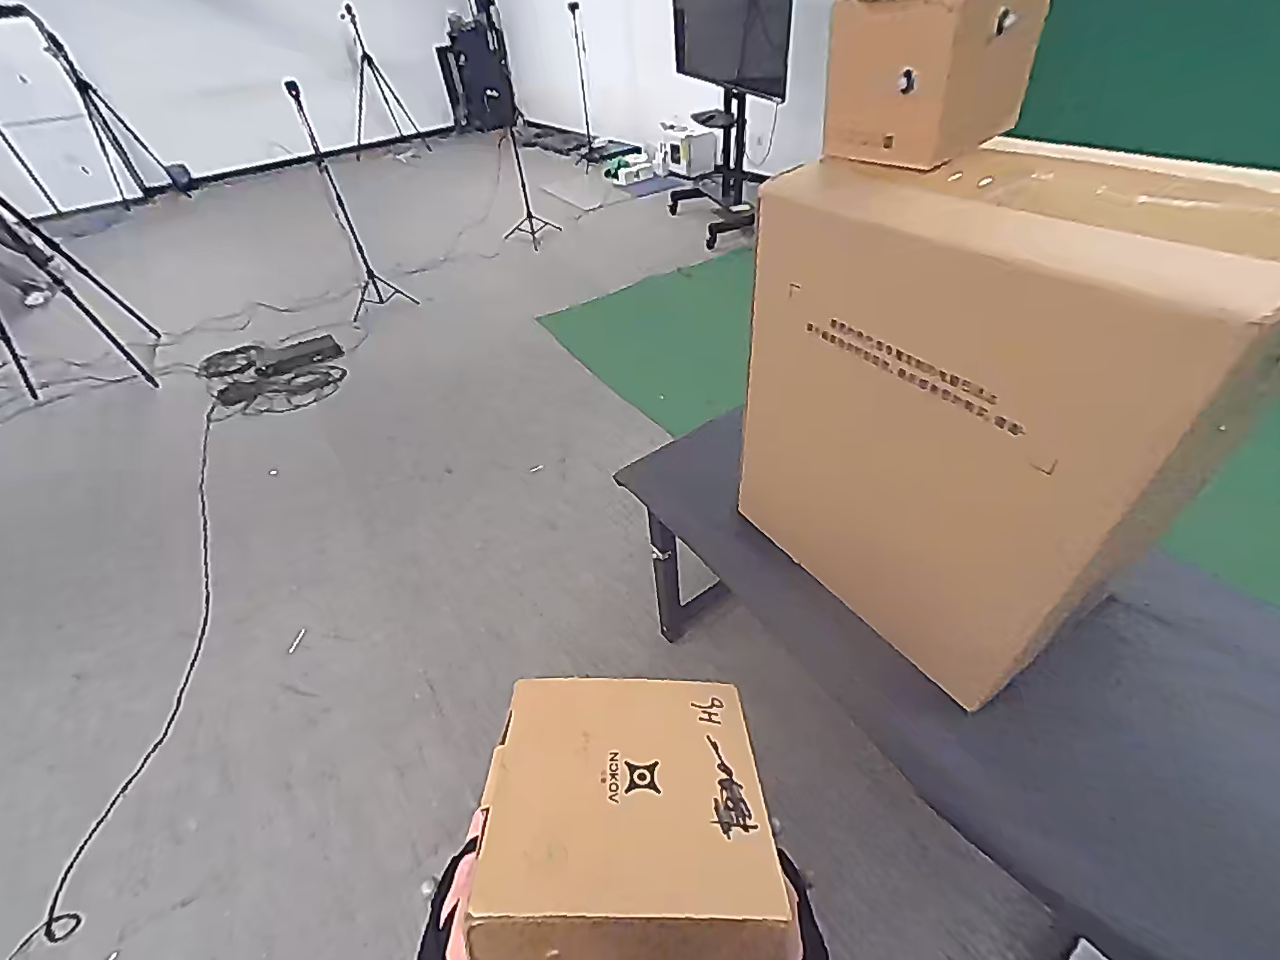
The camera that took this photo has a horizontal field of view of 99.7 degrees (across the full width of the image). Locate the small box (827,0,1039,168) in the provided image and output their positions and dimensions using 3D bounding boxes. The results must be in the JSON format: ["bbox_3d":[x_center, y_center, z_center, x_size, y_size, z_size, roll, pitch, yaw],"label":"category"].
[{"bbox_3d":[0.354,-0.509,0.673,0.179,0.176,0.168,-31,48,-20],"label":"small box"}]

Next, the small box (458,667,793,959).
[{"bbox_3d":[-0.012,0.254,0.377,0.179,0.176,0.168,3,24,-4],"label":"small box"}]
